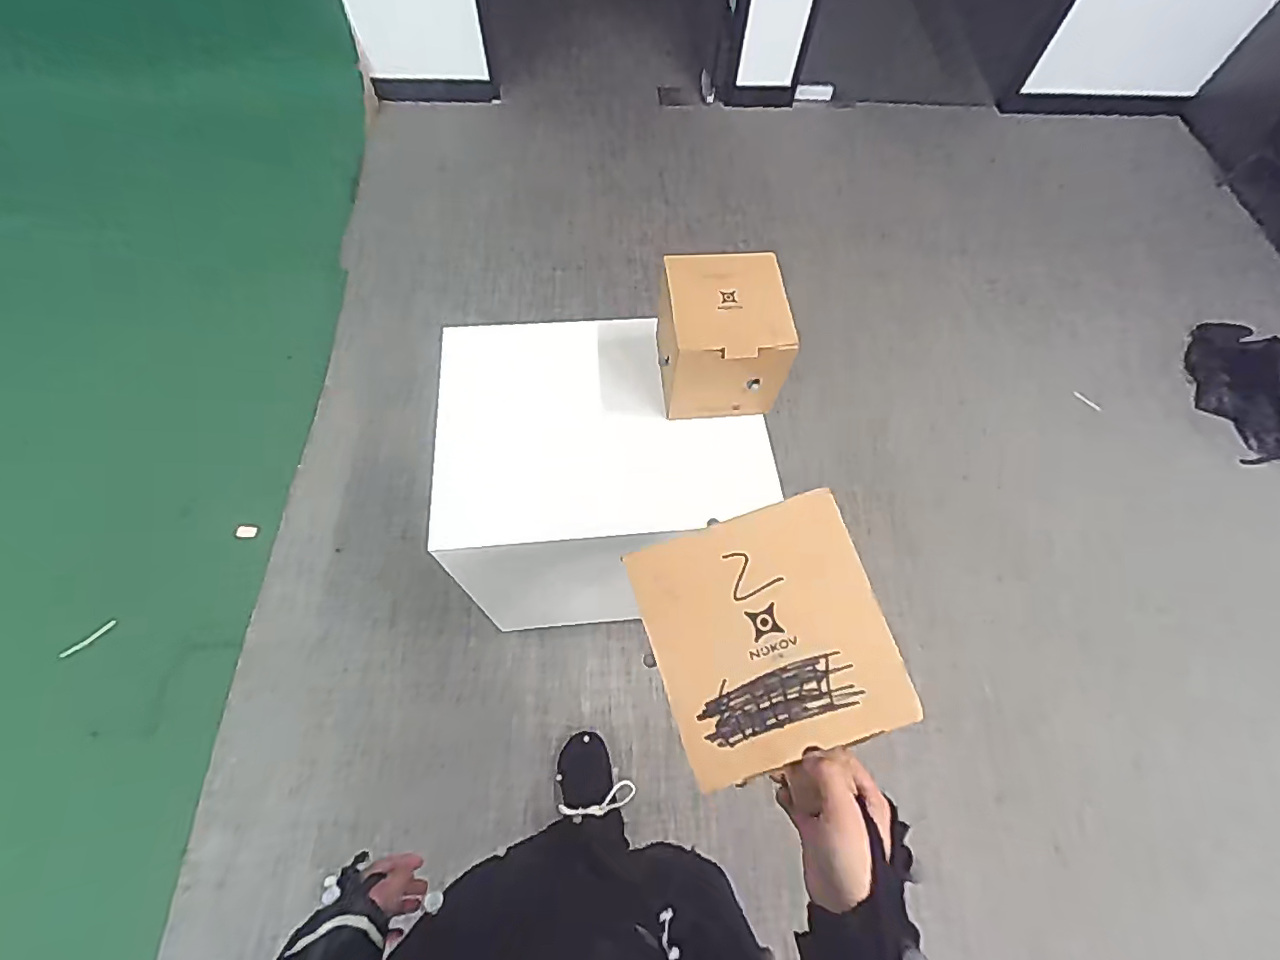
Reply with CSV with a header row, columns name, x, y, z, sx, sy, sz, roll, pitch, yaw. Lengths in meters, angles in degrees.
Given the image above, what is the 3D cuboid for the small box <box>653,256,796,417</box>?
name,x,y,z,sx,sy,sz,roll,pitch,yaw
small box,0.113,-0.205,0.810,0.168,0.176,0.179,-4,63,-6
